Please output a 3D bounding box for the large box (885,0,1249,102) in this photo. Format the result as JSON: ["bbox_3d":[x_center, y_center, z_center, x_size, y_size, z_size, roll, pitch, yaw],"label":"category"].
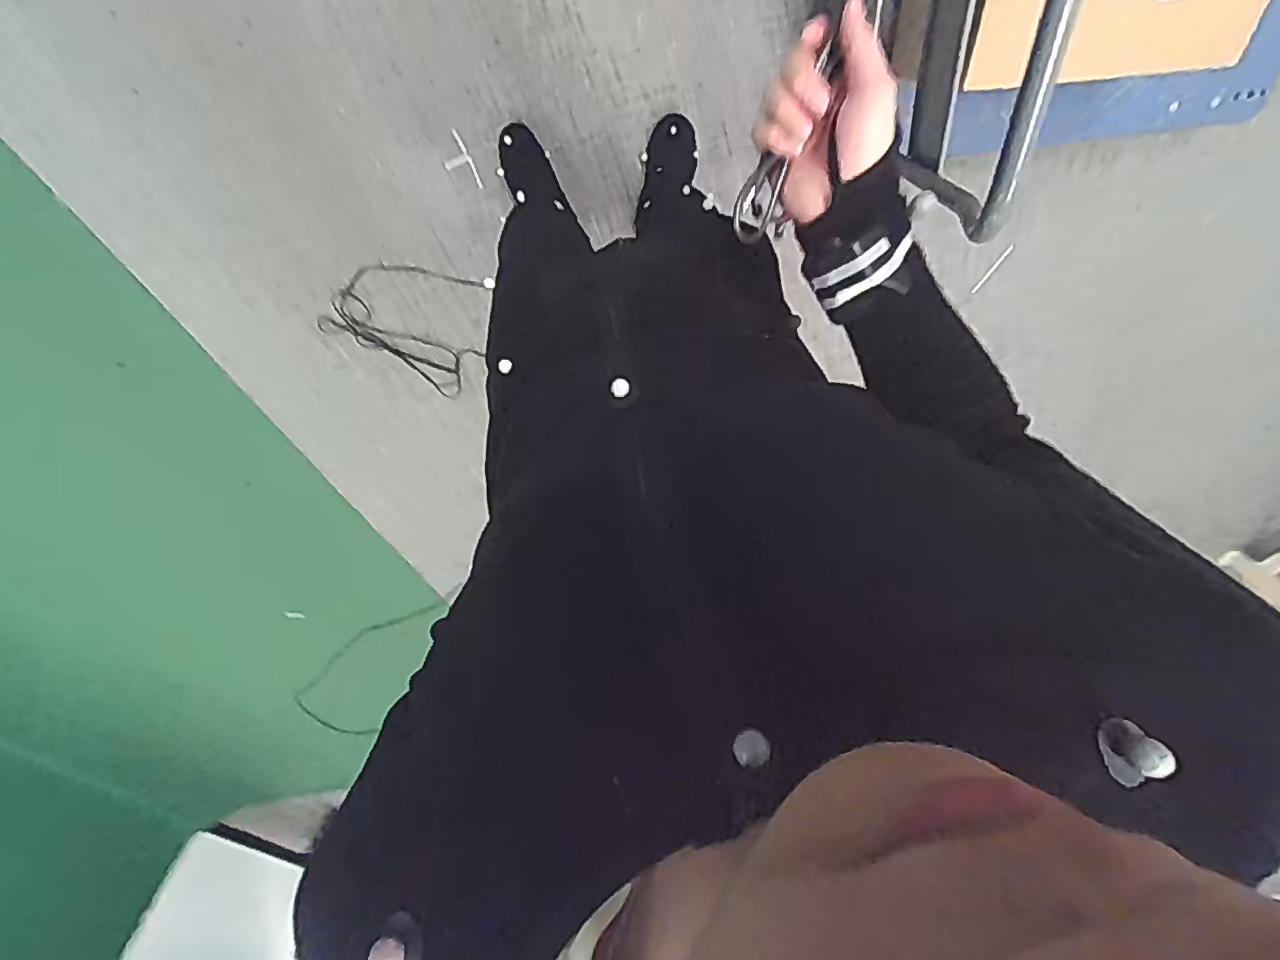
[{"bbox_3d":[0.669,-0.819,0.861,0.408,0.320,0.320,-4,129,1],"label":"large box"}]
